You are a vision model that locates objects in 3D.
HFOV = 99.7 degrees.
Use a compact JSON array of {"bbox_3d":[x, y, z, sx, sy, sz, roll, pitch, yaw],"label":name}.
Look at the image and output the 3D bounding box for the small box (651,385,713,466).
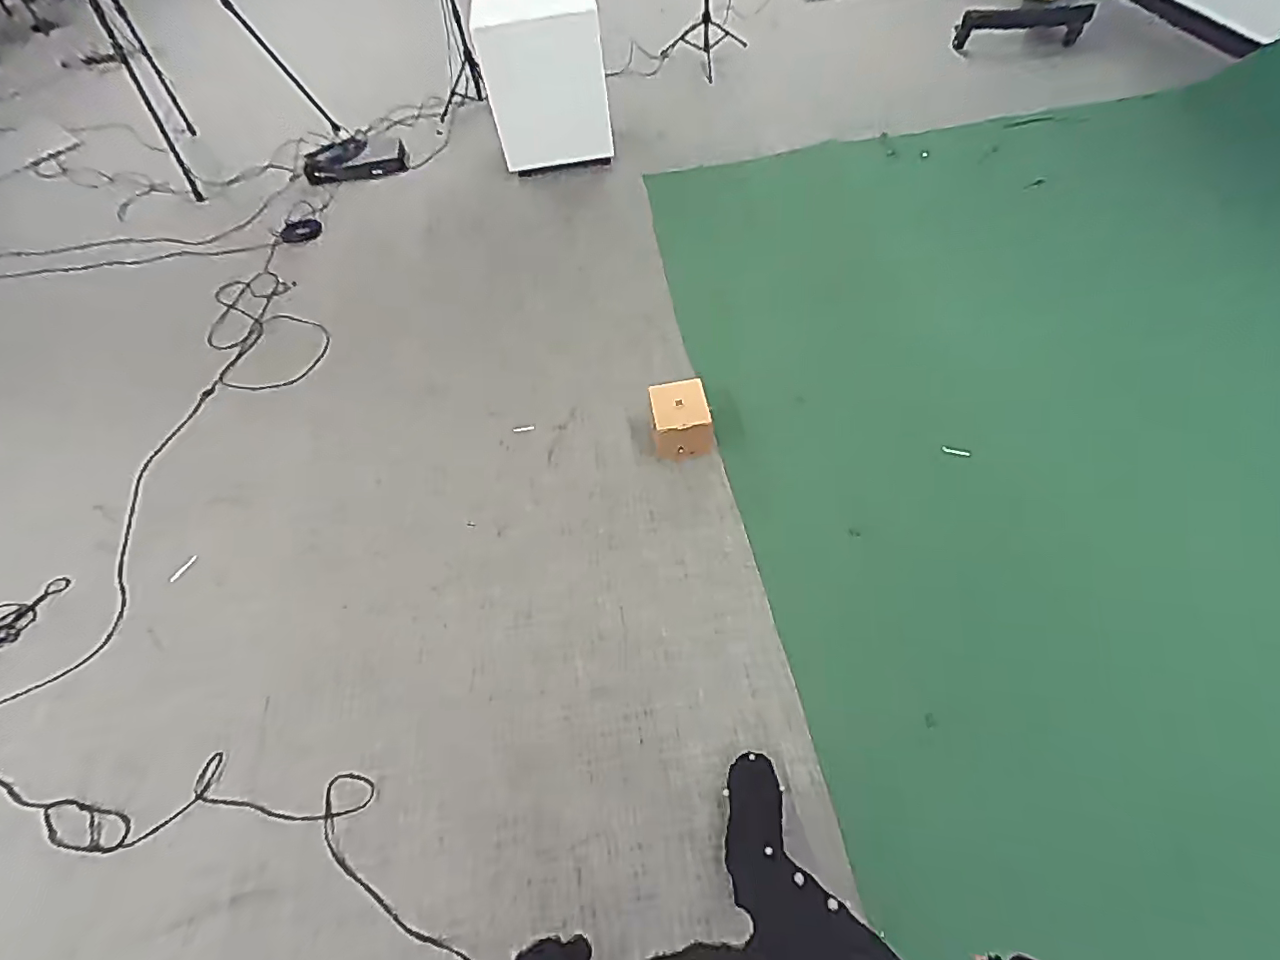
[{"bbox_3d":[0.127,-0.168,1.693,0.168,0.176,0.179,-10,58,-1],"label":"small box"}]
